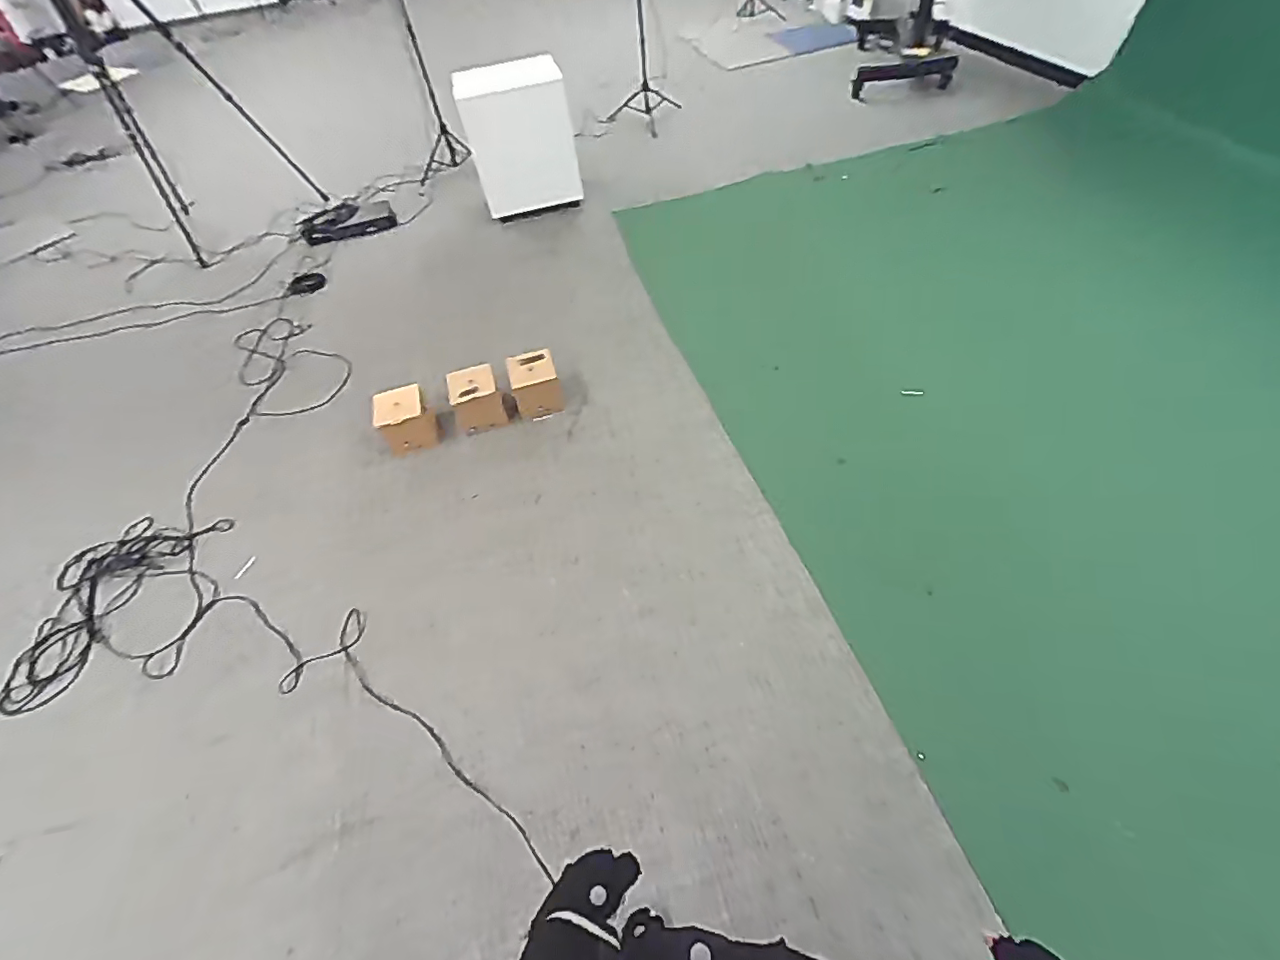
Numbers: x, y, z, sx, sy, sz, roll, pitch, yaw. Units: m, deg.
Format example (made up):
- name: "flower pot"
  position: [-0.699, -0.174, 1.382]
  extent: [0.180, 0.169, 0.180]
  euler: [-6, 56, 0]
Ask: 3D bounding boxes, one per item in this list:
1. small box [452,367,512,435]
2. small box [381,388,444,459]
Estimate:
- name: "small box"
  position: [-0.592, -0.289, 2.041]
  extent: [0.168, 0.176, 0.179]
  euler: [-17, 52, -6]
- name: "small box"
  position: [-0.844, -0.208, 2.011]
  extent: [0.168, 0.176, 0.179]
  euler: [-17, 53, -6]
